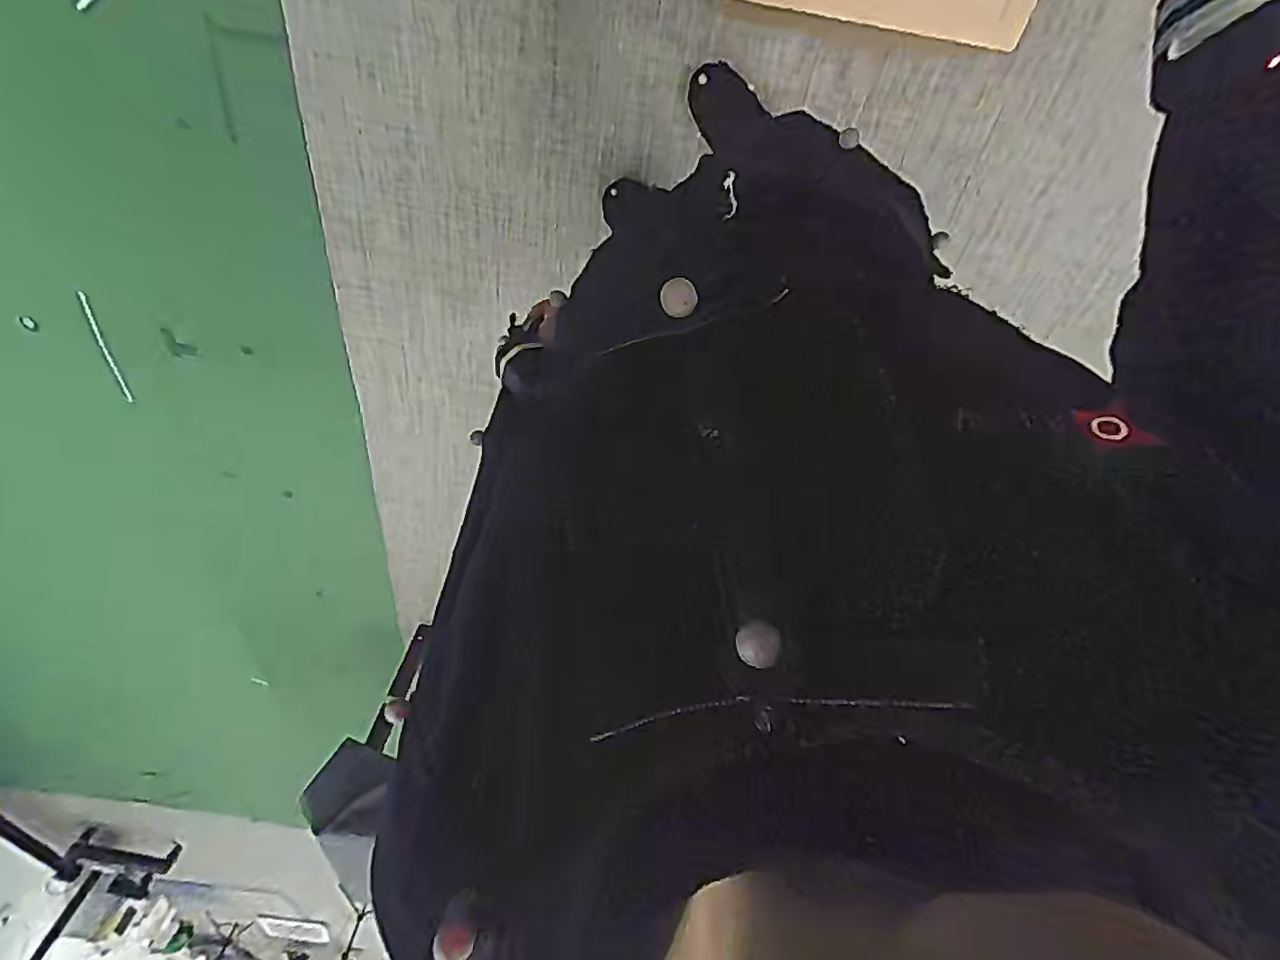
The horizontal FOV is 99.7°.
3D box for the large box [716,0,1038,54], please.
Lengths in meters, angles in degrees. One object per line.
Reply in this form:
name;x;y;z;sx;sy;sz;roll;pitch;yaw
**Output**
large box;0.340;-0.817;0.750;0.408;0.320;0.320;8;128;-3
